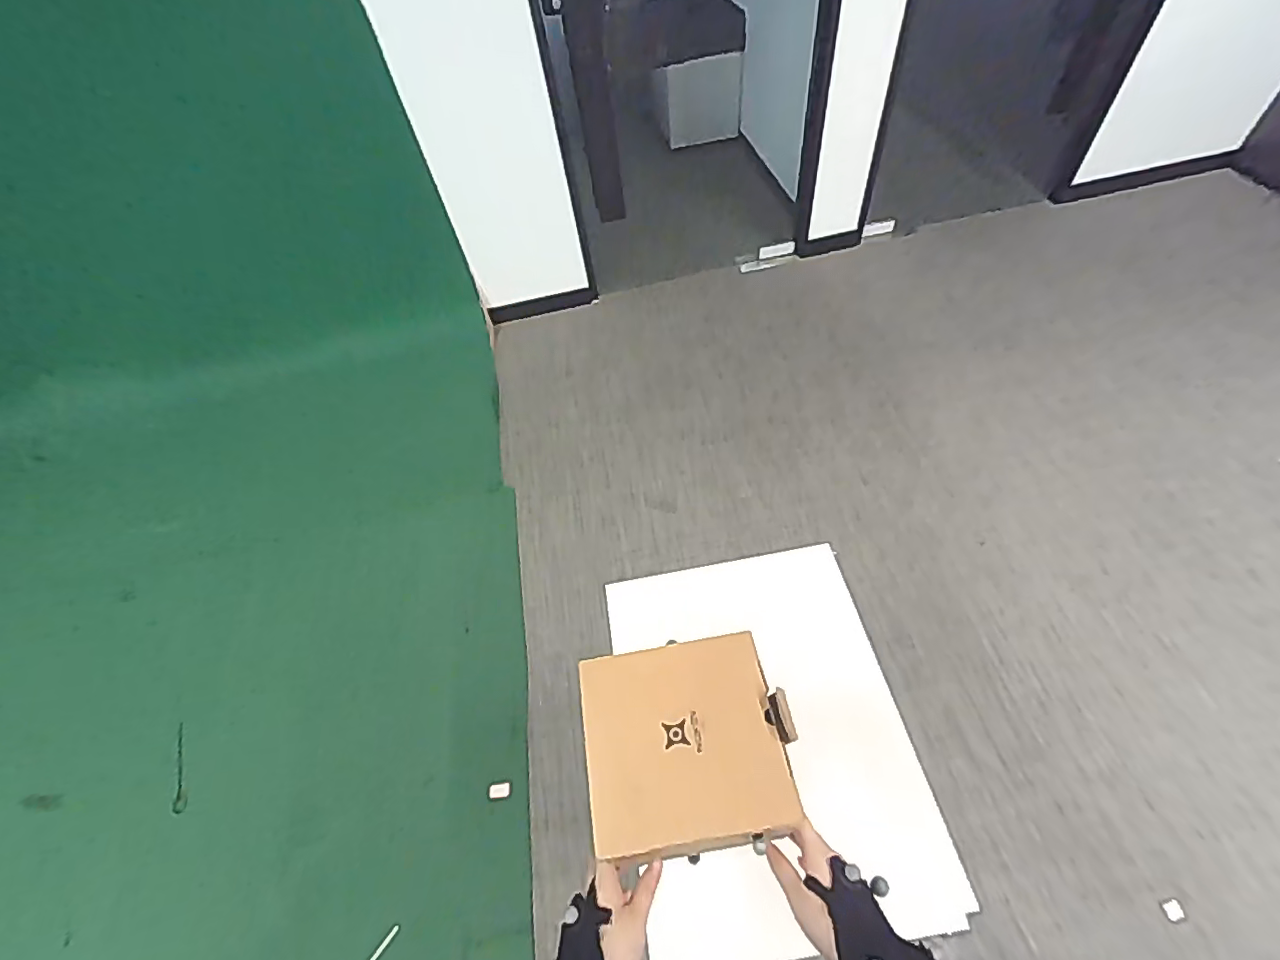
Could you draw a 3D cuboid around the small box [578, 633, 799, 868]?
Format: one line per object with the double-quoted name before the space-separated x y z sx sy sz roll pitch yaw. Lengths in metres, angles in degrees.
"small box" 0.042 0.278 0.548 0.179 0.176 0.168 -10 52 -2
